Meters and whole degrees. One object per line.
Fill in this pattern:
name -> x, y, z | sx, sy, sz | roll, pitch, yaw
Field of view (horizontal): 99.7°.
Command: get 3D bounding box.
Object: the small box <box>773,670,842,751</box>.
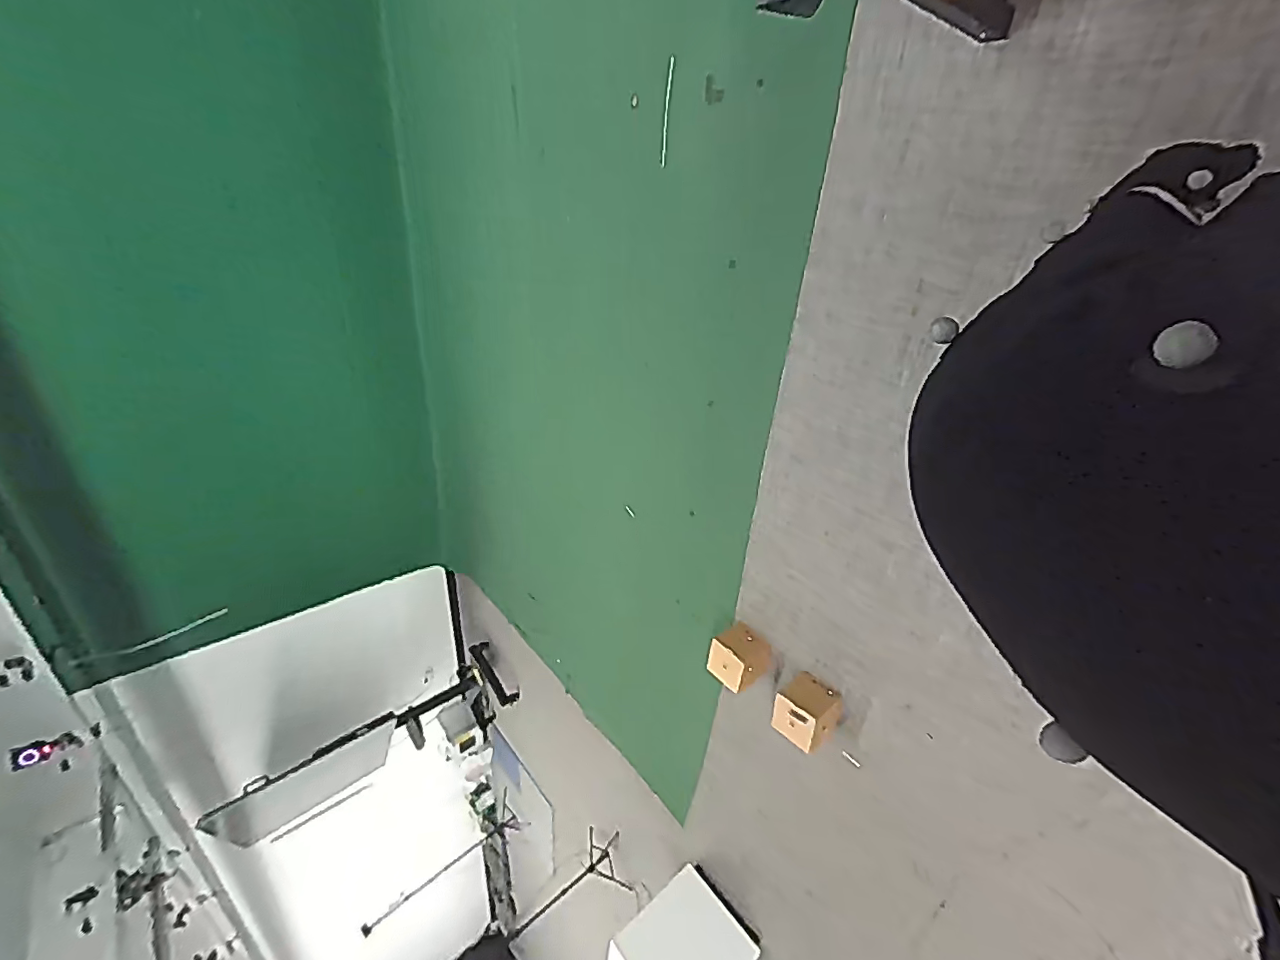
small box -> 0.611, 0.831, 1.968 | 0.168, 0.176, 0.179 | 27, 126, 43

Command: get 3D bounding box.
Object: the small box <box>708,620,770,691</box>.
small box -> 0.401, 0.702, 2.177 | 0.168, 0.176, 0.179 | 32, 128, 39
